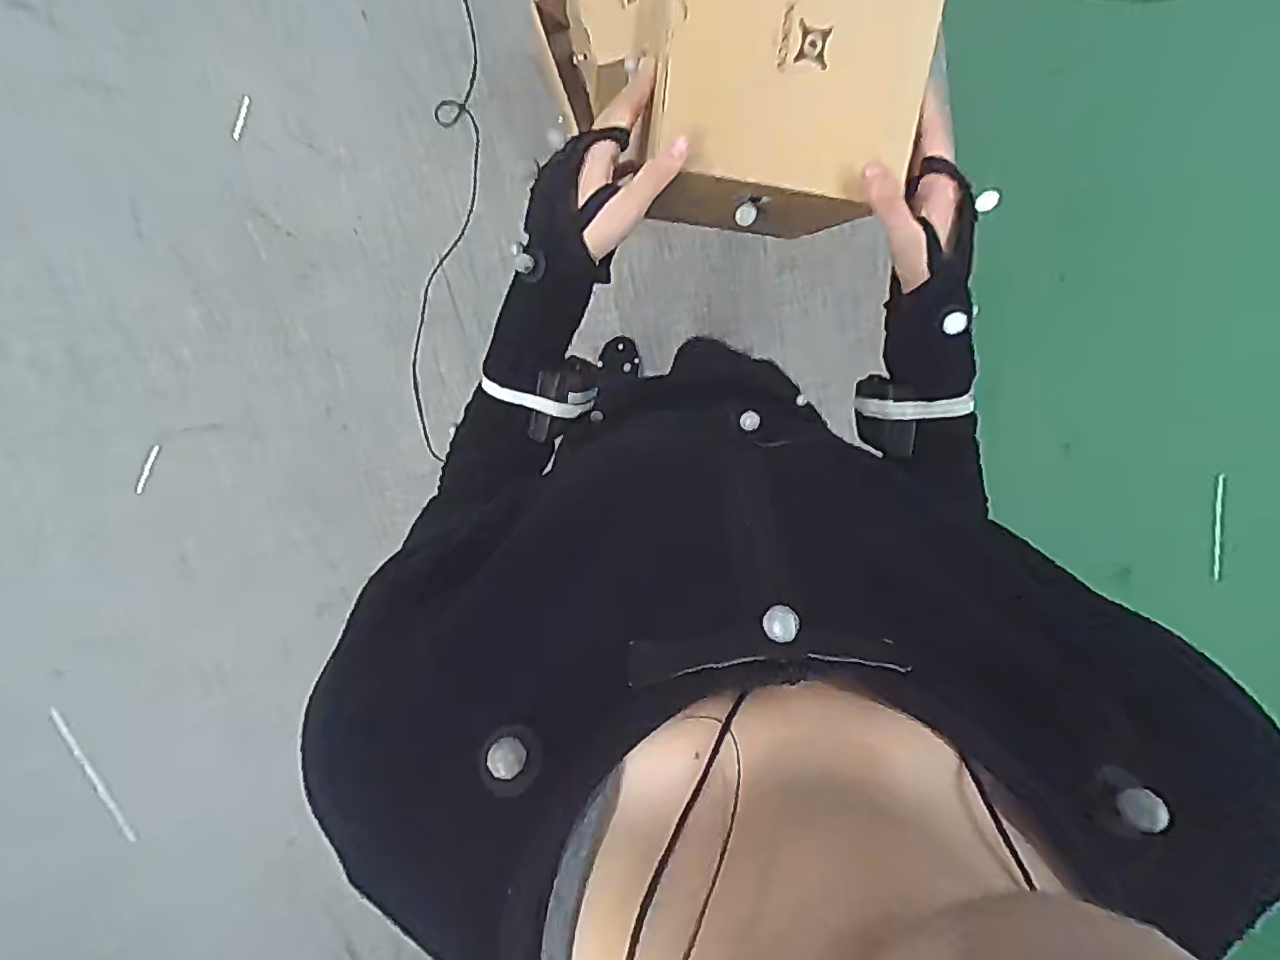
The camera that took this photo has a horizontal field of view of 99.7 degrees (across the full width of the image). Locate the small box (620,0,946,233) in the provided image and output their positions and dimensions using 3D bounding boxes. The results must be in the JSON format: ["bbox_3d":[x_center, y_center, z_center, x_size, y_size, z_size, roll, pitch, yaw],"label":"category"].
[{"bbox_3d":[0.089,-0.293,0.404,0.179,0.176,0.168,4,105,-11],"label":"small box"}]

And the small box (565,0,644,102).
[{"bbox_3d":[-0.036,-0.833,0.993,0.179,0.176,0.168,-18,107,-3],"label":"small box"}]
